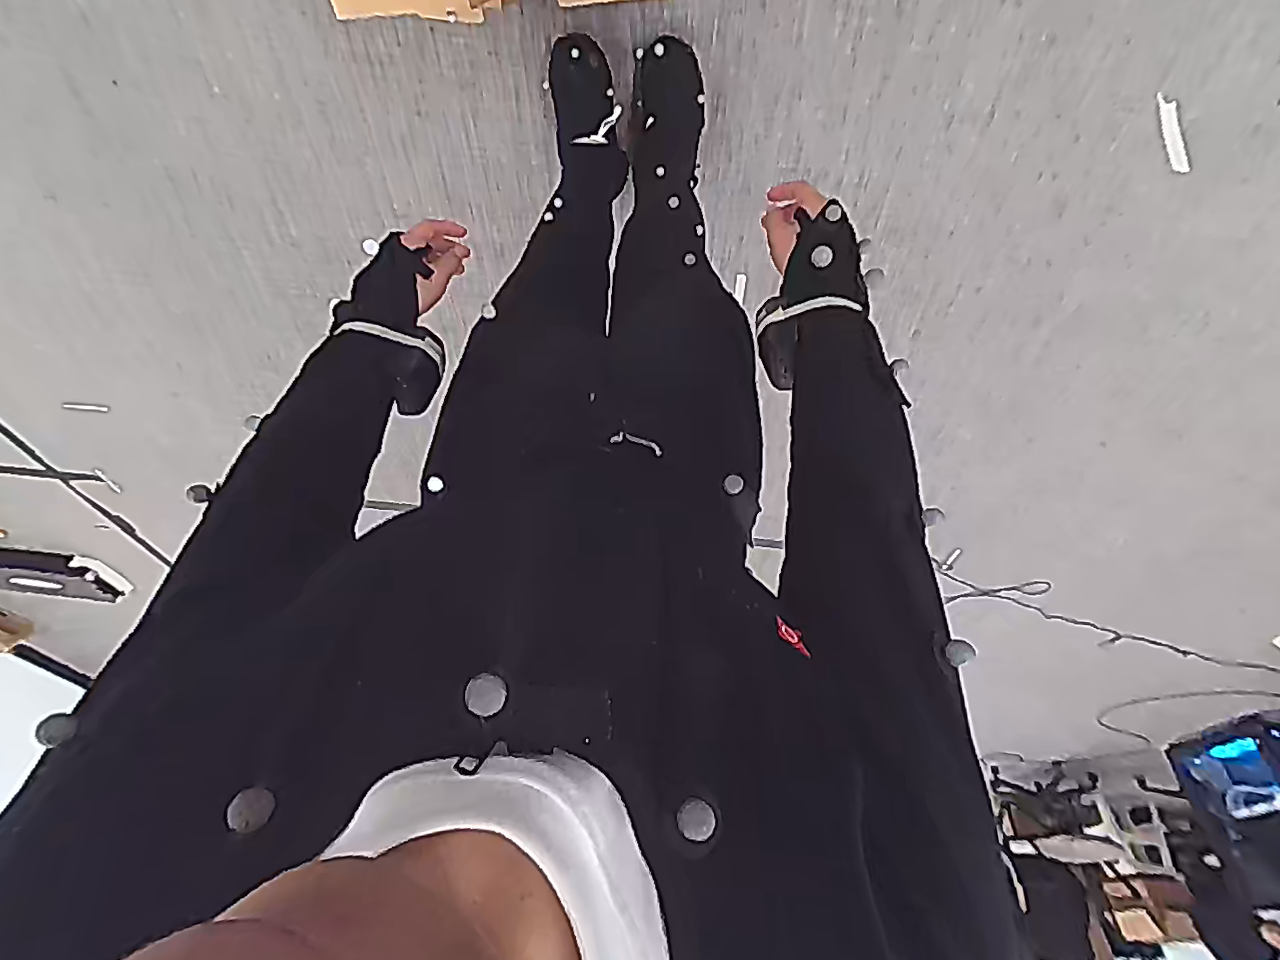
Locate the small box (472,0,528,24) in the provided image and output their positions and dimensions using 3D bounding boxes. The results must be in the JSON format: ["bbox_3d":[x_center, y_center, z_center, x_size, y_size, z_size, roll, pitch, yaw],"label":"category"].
[{"bbox_3d":[-0.258,-0.778,0.762,0.168,0.176,0.179,6,138,2],"label":"small box"}]

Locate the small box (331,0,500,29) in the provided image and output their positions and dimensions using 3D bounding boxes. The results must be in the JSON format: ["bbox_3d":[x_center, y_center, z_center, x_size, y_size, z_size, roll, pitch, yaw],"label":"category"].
[{"bbox_3d":[-0.278,-0.663,0.648,0.179,0.176,0.168,1,138,6],"label":"small box"}]
